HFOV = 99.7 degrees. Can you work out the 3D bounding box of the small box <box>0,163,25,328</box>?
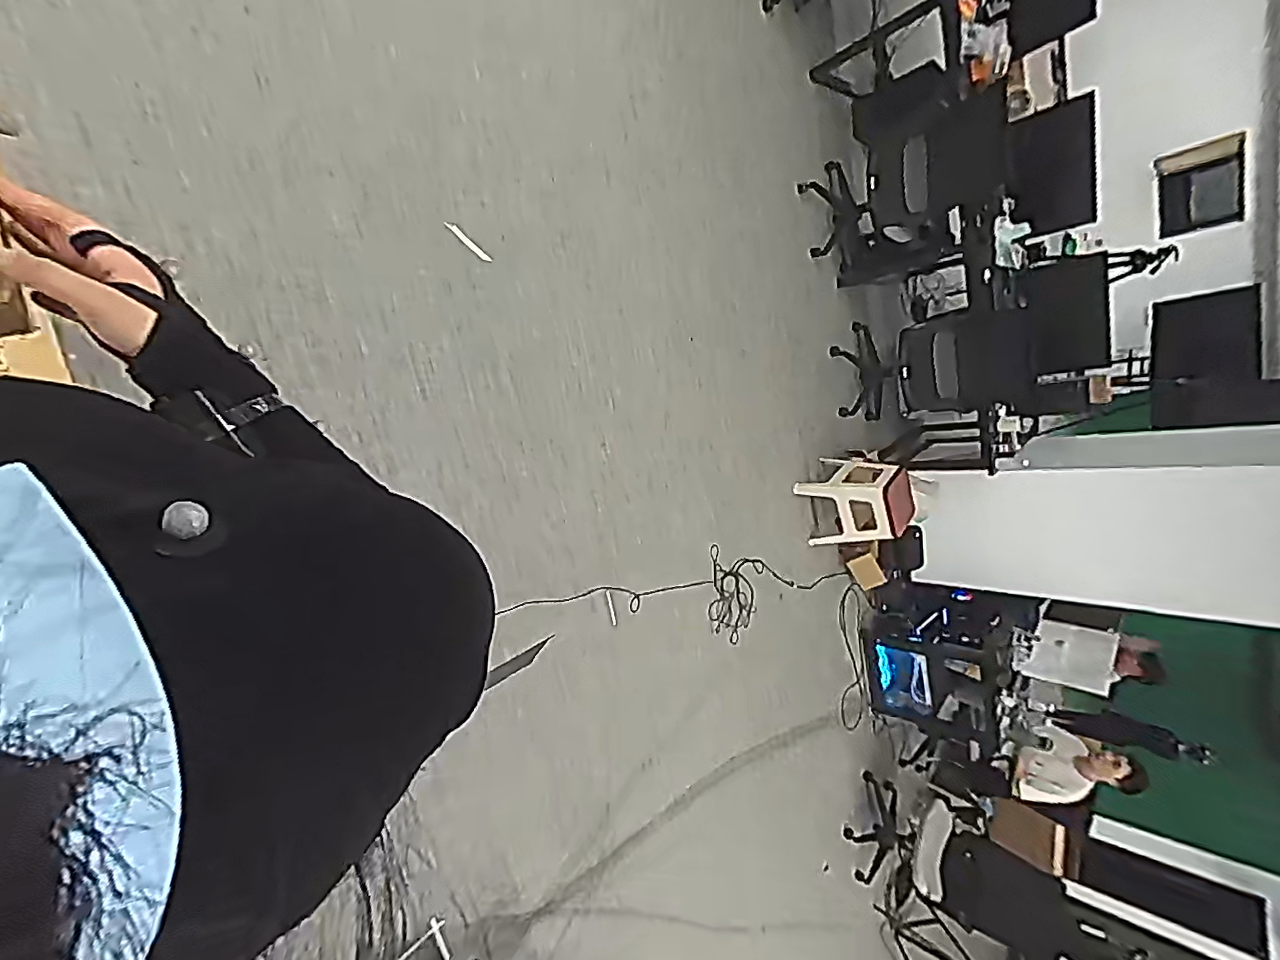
[{"bbox_3d":[-0.521,-0.196,0.333,0.168,0.176,0.179,-10,103,-44],"label":"small box"}]
